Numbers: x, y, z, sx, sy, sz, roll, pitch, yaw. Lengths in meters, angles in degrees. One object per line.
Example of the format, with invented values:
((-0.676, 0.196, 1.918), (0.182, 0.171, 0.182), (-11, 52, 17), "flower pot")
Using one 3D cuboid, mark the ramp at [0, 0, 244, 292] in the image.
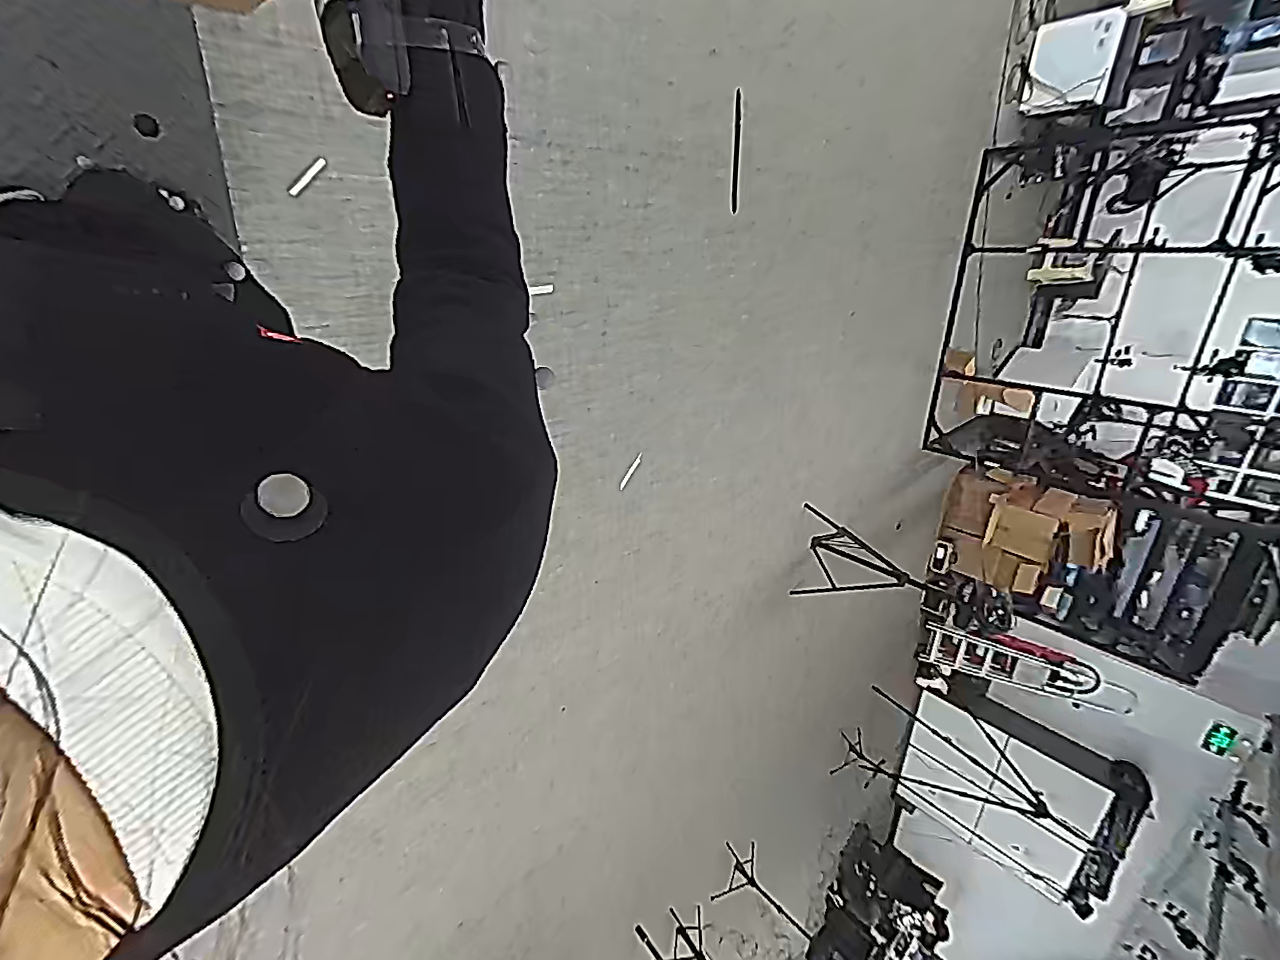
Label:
((-0.952, -0.781, 0.765), (0.509, 0.206, 0.991), (-20, 120, -39), "ramp")
